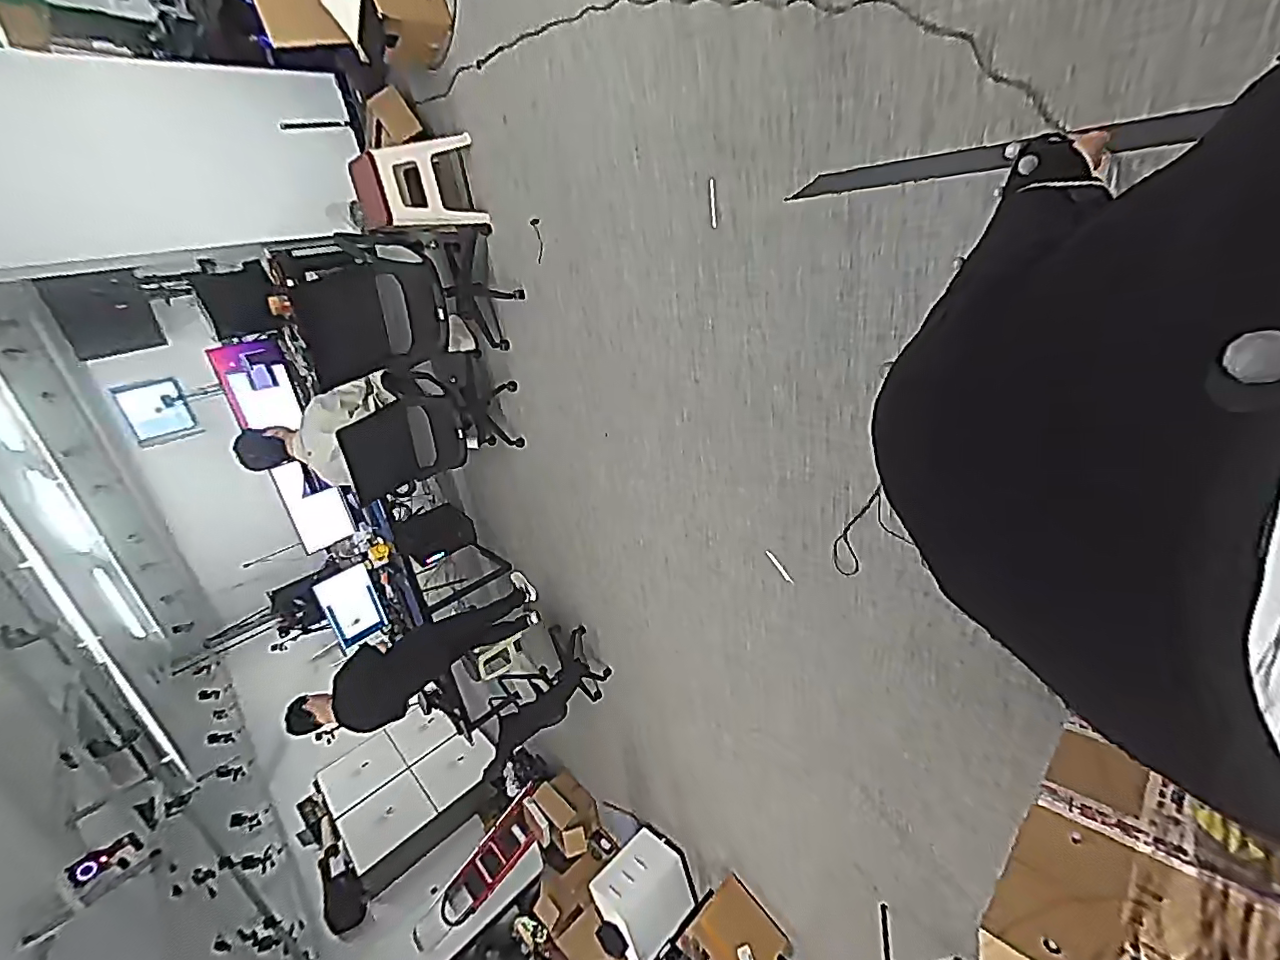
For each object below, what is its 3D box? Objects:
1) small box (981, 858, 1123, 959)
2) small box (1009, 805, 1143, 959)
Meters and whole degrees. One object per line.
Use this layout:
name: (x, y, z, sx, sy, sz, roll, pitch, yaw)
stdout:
small box: (0.744, 0.845, 0.979, 0.179, 0.176, 0.168, 8, 115, 49)
small box: (0.866, 0.797, 1.081, 0.179, 0.176, 0.168, 8, 115, 49)
